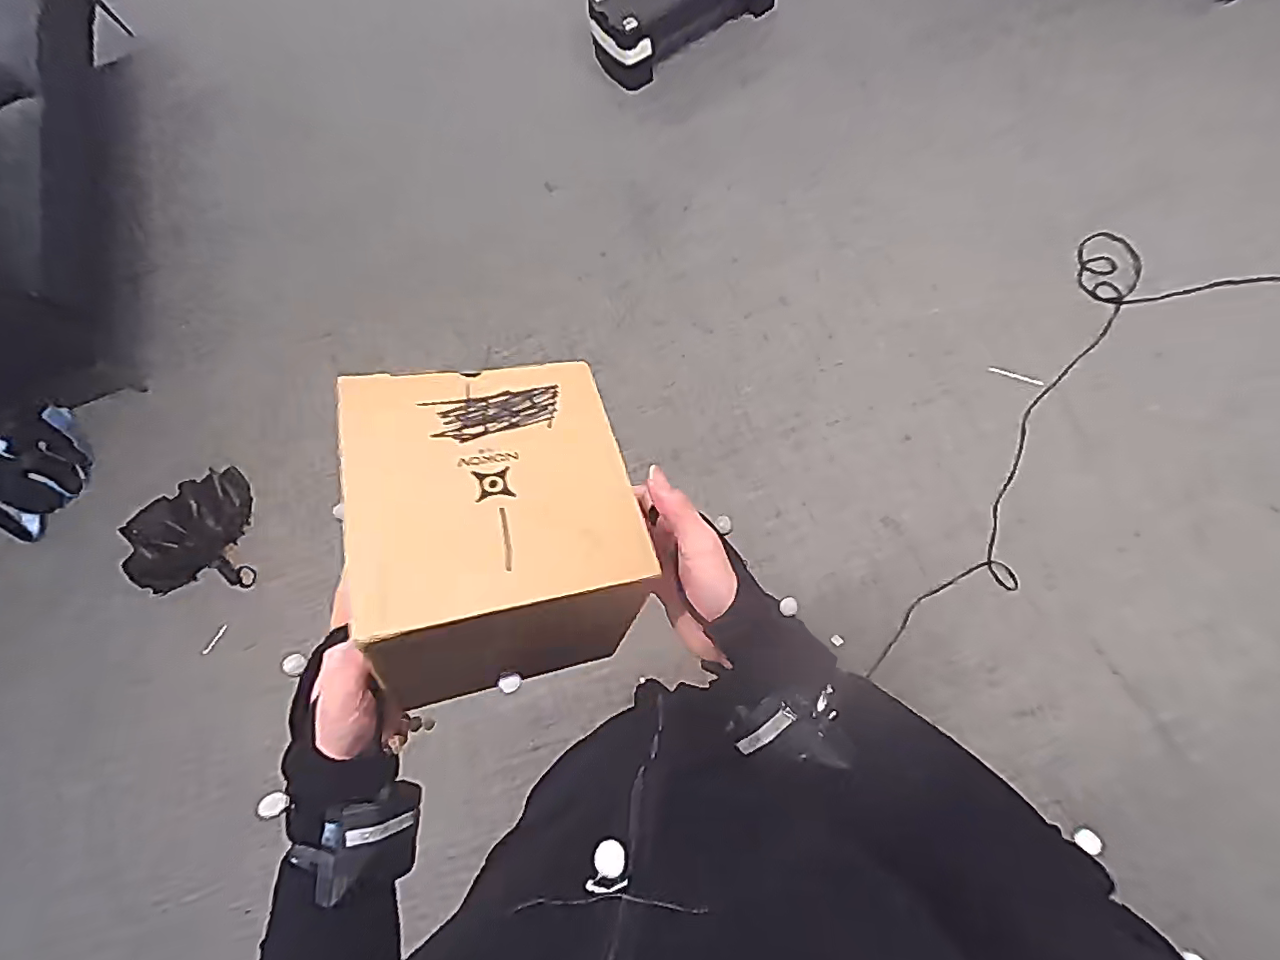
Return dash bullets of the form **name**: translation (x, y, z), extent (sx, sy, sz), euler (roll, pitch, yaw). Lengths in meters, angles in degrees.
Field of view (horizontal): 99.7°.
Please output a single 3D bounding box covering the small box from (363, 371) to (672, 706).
- **small box**: translation (-0.099, 0.043, 0.399), extent (0.168, 0.176, 0.179), euler (-8, 60, -21)
